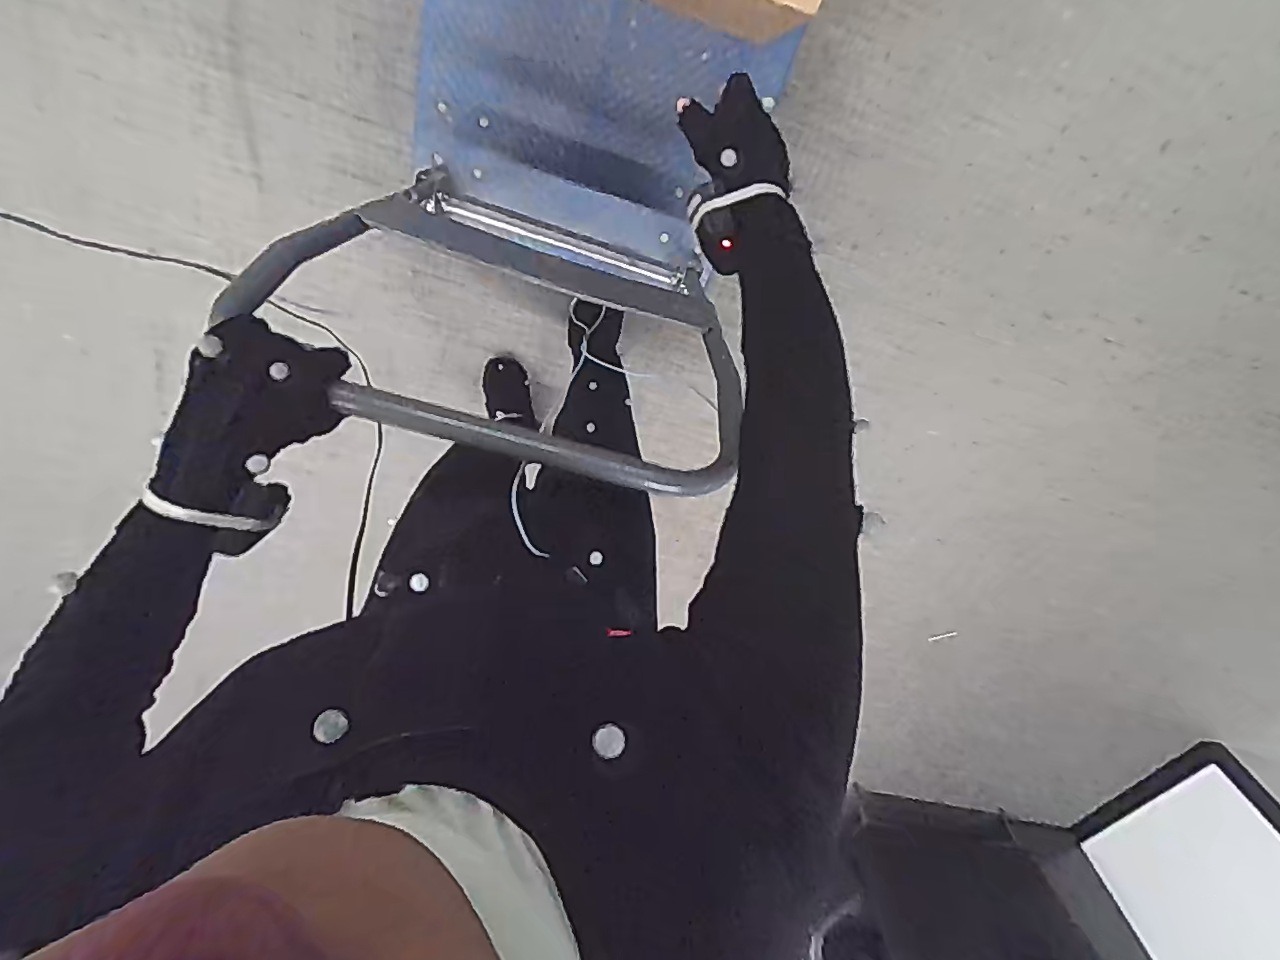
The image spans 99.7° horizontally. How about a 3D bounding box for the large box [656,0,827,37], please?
[{"bbox_3d":[0.057,-0.774,0.628,0.408,0.320,0.320,13,123,-8],"label":"large box"}]
